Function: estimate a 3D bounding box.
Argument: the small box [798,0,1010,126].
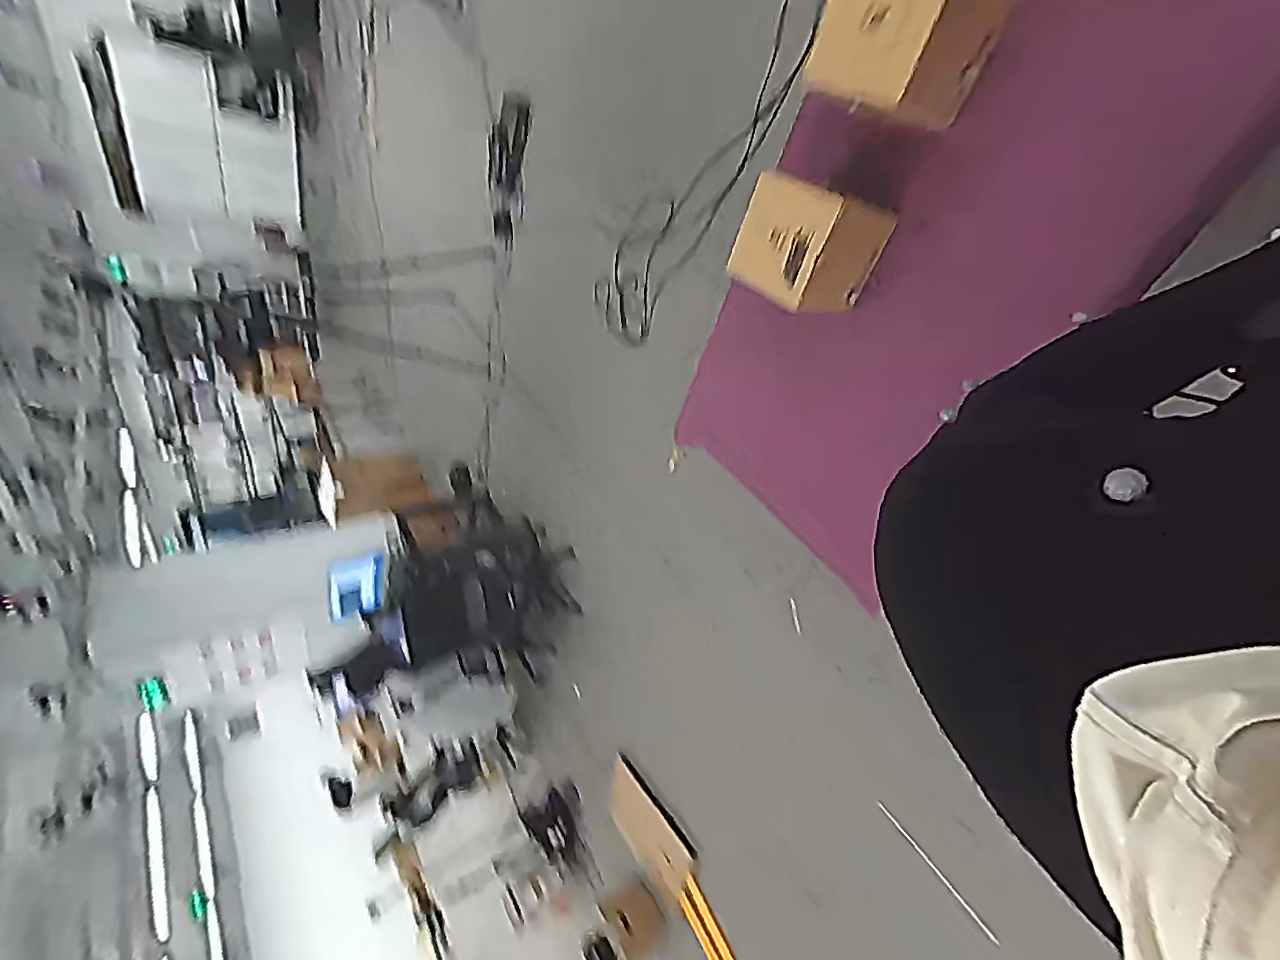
[{"bbox_3d":[0.368,-0.624,0.763,0.179,0.176,0.168,45,133,34],"label":"small box"}]

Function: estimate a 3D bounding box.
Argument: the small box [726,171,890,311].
[{"bbox_3d":[0.286,-0.404,0.925,0.179,0.176,0.168,47,133,34],"label":"small box"}]
